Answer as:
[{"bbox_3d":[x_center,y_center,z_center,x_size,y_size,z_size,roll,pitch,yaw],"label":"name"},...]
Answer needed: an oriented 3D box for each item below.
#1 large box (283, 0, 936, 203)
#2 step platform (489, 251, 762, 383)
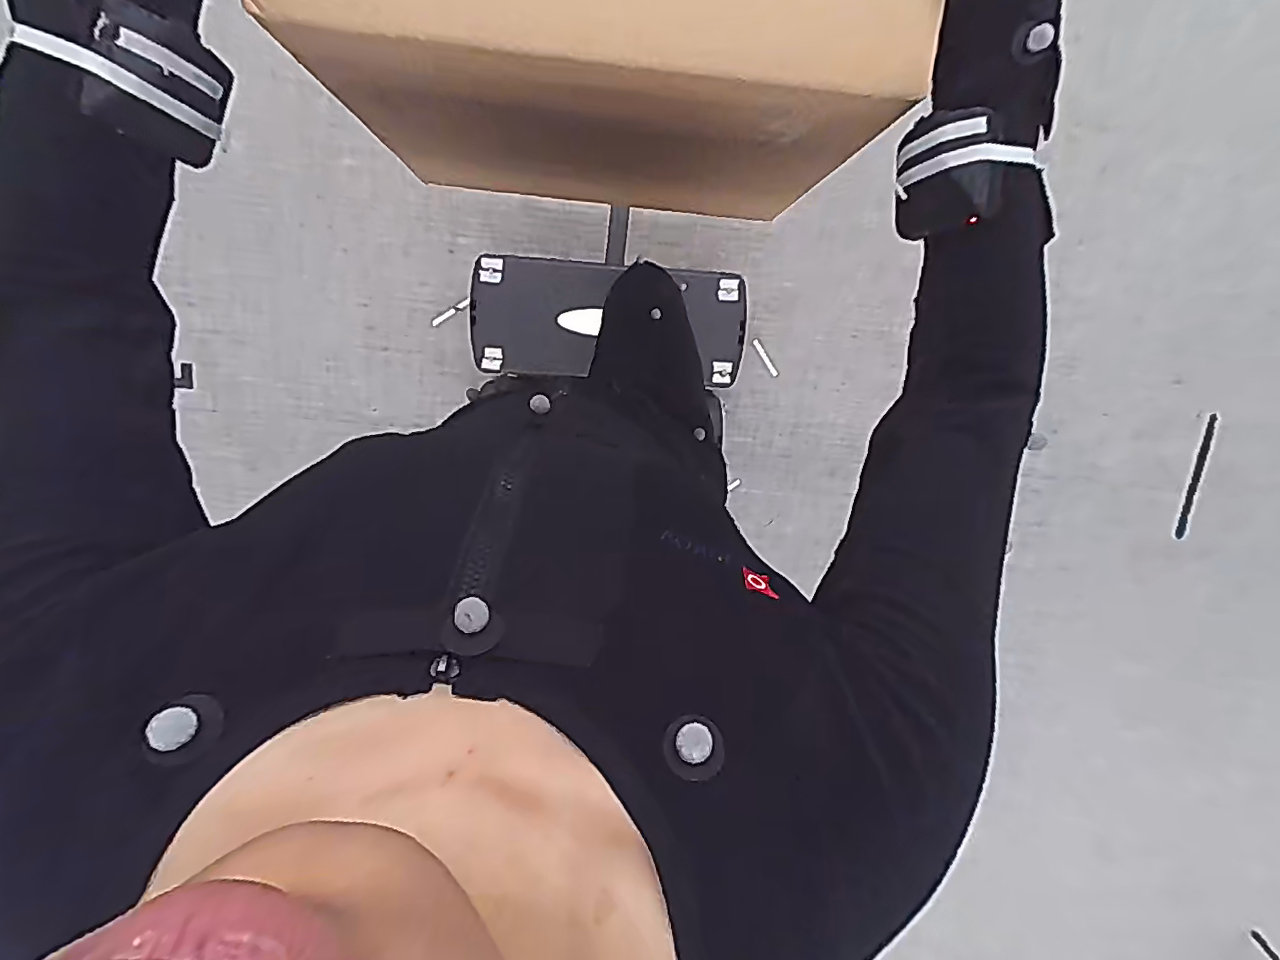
[{"bbox_3d":[-0.018,-0.446,0.444,0.408,0.320,0.320,3,104,-5],"label":"large box"},{"bbox_3d":[-0.036,-0.411,1.392,0.684,0.204,0.286,2,103,-4],"label":"step platform"}]
